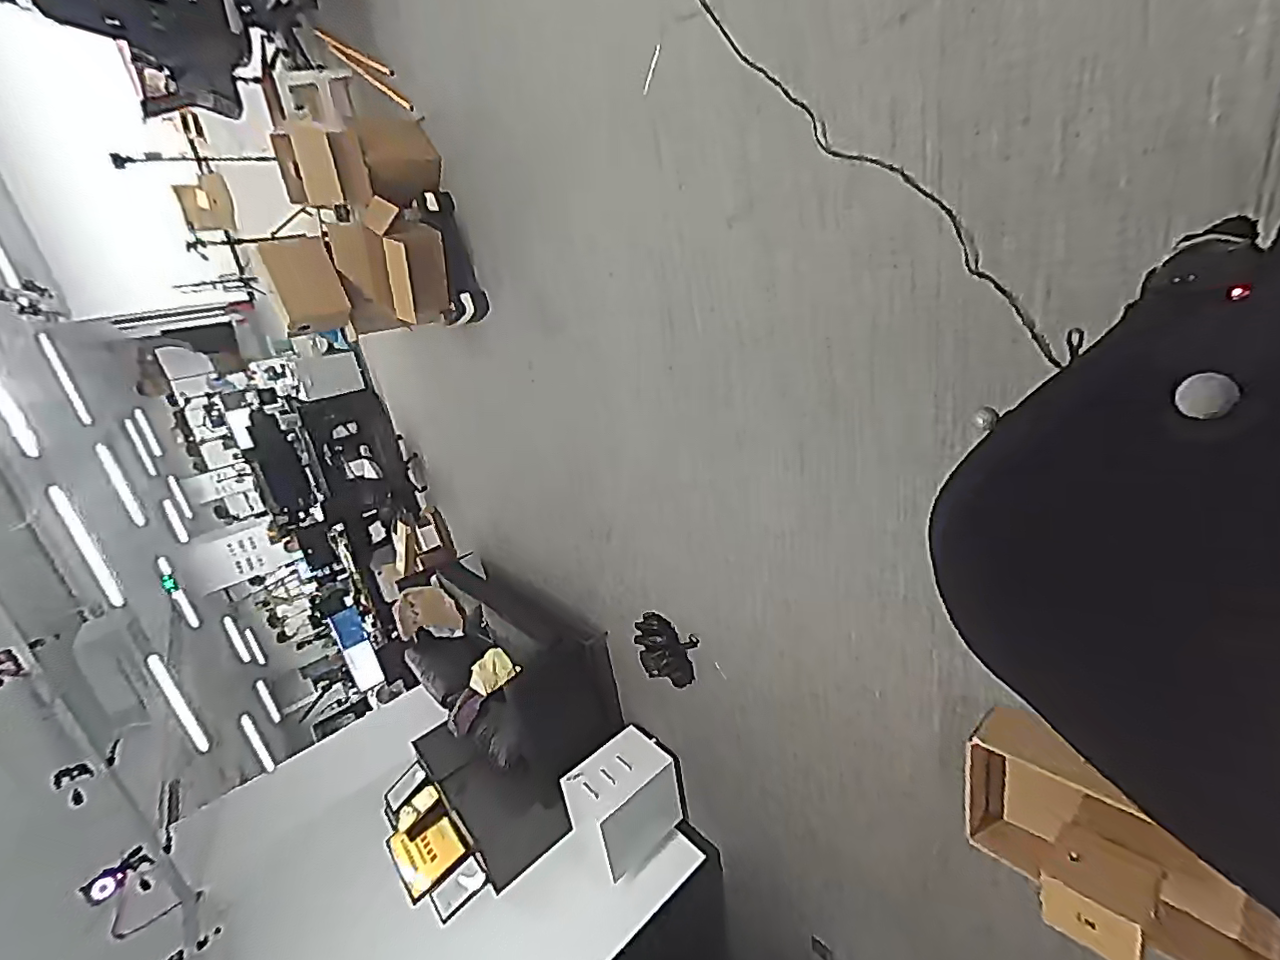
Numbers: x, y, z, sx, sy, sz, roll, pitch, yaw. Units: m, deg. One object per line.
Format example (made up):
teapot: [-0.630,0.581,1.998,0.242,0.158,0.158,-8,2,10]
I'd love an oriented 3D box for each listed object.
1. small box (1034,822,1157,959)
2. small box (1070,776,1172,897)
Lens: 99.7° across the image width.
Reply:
small box: [1.031,0.924,1.224,0.179,0.176,0.168,3,114,53]
small box: [1.172,0.877,1.324,0.168,0.176,0.179,12,120,50]
